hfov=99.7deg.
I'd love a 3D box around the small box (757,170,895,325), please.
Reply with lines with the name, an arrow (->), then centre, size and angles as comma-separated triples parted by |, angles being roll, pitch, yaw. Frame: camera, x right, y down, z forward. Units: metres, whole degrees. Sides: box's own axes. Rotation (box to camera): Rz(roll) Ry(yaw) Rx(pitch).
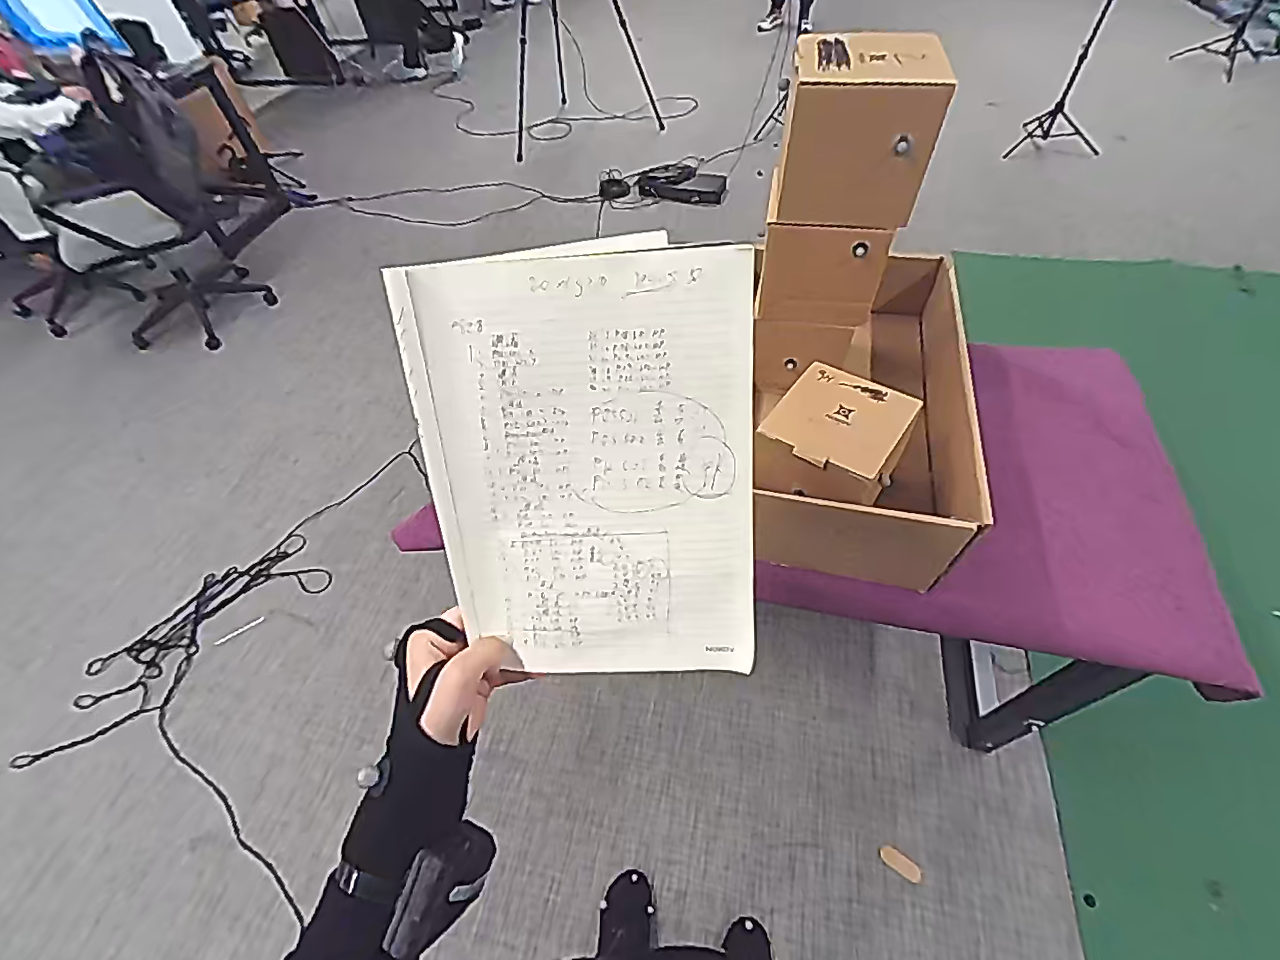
small box -> 0.283, -0.363, 0.853 | 0.179, 0.176, 0.168 | 7, 55, 10

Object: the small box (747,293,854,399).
small box -> 0.291, -0.270, 0.985 | 0.168, 0.176, 0.179 | 10, 56, 12
